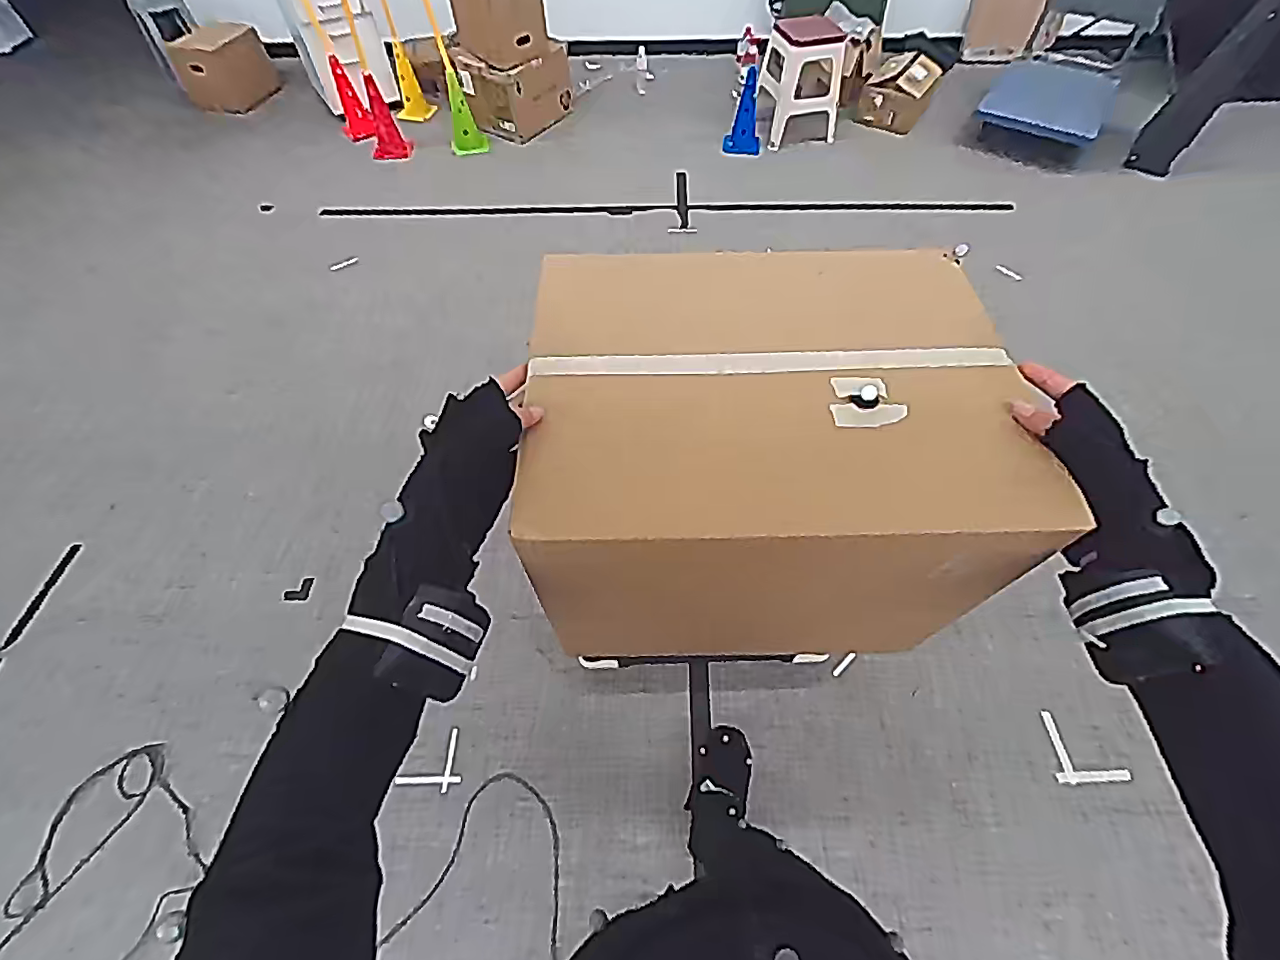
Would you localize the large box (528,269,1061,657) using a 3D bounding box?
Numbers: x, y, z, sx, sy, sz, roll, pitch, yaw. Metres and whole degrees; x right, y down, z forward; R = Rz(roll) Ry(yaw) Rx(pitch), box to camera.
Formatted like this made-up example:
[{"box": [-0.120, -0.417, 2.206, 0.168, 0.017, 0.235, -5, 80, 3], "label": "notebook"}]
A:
[{"box": [0.109, -0.005, 0.598, 0.408, 0.320, 0.320, -1, 57, -1], "label": "large box"}]
